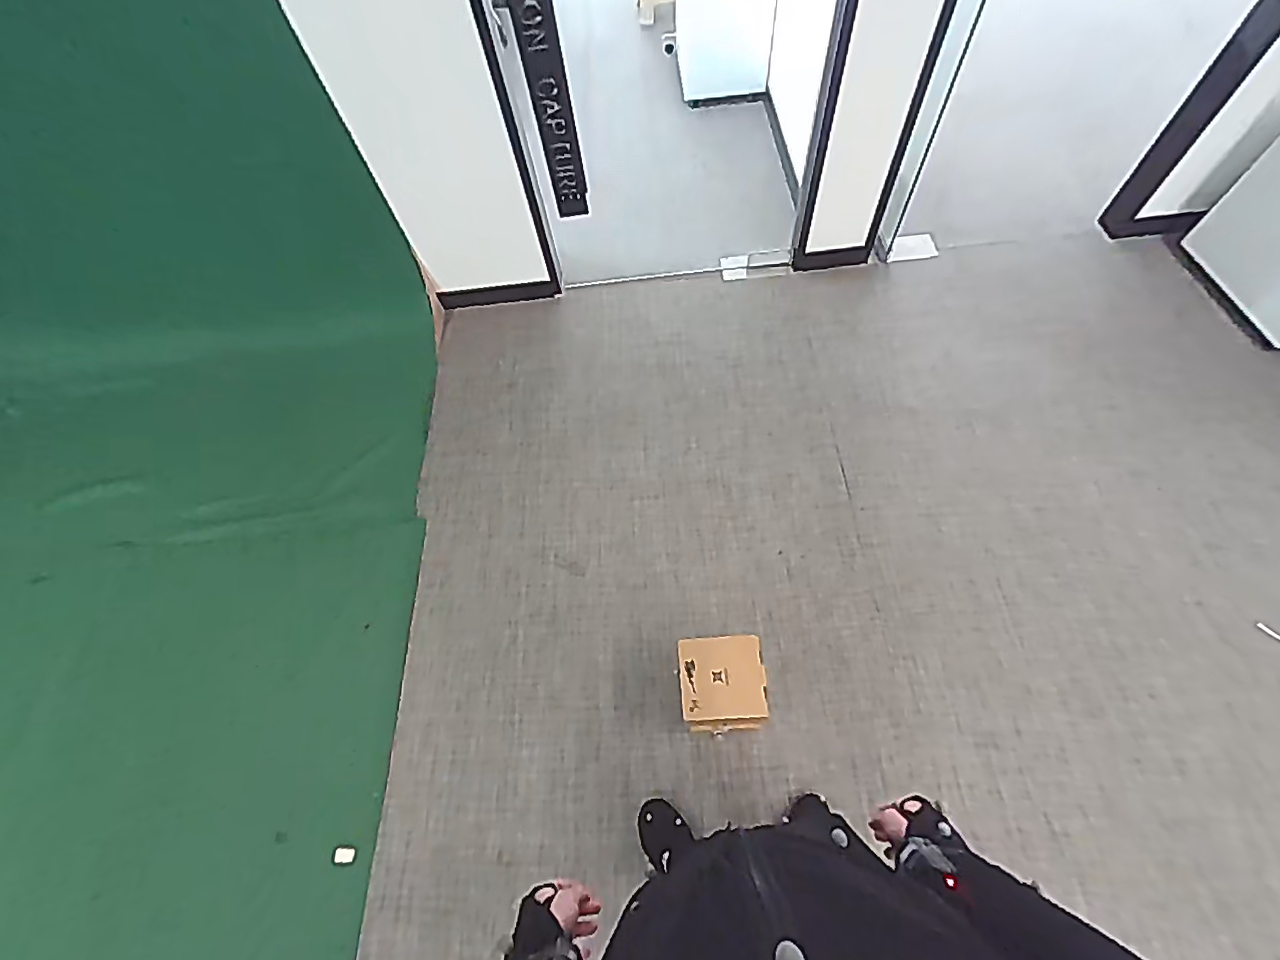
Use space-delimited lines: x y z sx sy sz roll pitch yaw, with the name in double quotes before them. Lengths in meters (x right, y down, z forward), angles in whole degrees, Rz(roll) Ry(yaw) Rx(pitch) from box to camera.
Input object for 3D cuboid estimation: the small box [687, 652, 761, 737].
"small box" 0.202 0.529 1.329 0.168 0.176 0.179 -3 61 6
